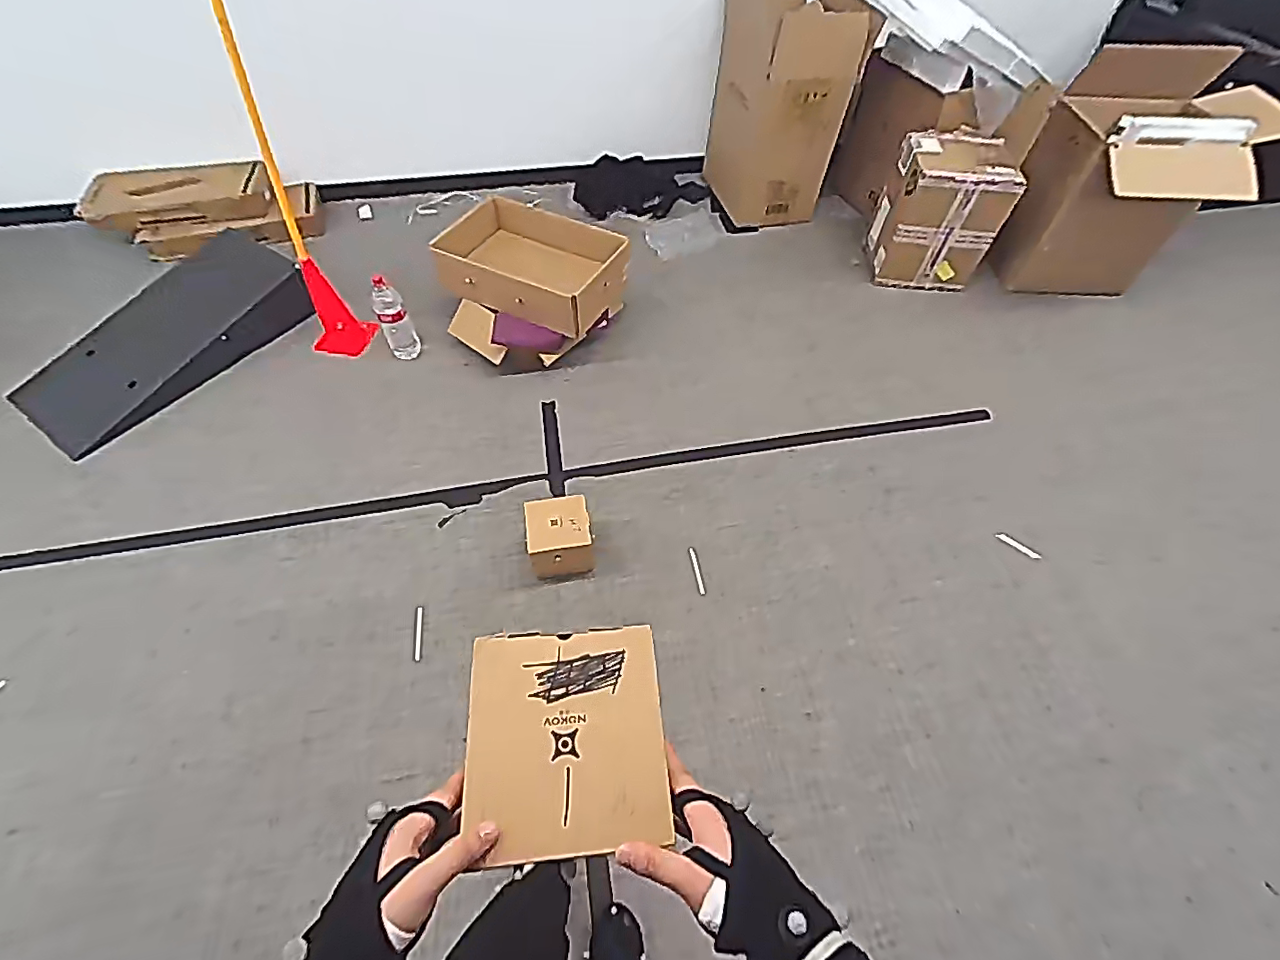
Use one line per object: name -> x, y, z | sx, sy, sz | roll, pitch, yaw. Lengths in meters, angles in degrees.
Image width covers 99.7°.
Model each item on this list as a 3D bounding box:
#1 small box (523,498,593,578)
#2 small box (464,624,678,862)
small box -> -0.236, 0.173, 1.570 | 0.179, 0.176, 0.168 | -7, 57, -8
small box -> -0.064, 0.255, 0.523 | 0.168, 0.176, 0.179 | -3, 57, -6
